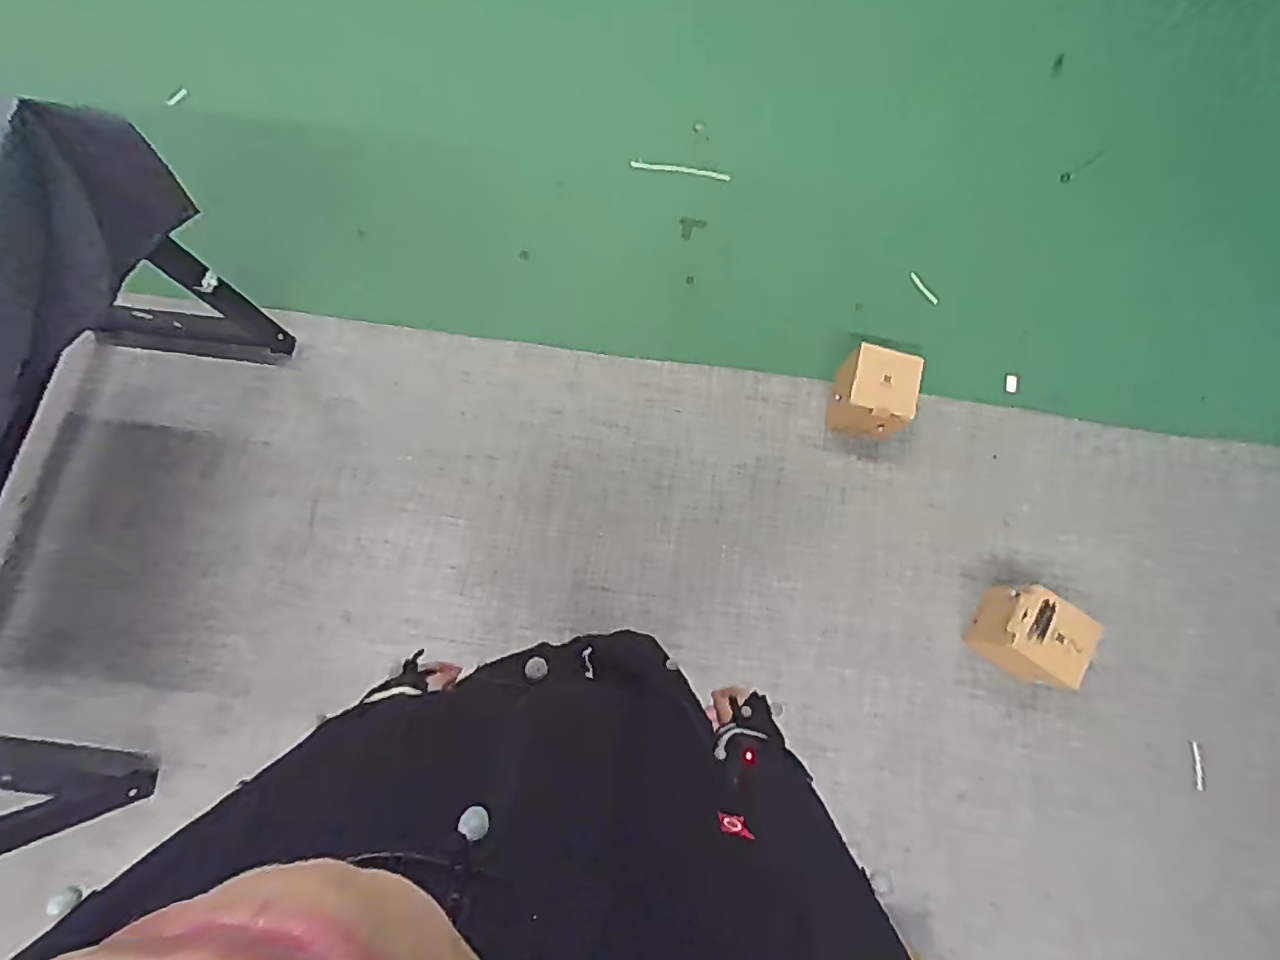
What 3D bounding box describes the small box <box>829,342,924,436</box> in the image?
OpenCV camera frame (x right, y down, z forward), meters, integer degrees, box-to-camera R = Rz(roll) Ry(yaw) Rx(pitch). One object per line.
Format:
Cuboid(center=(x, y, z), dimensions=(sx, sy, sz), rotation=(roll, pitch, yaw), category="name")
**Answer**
Cuboid(center=(0.620, -0.233, 1.438), dimensions=(0.168, 0.176, 0.179), rotation=(15, 76, 1), category="small box")
